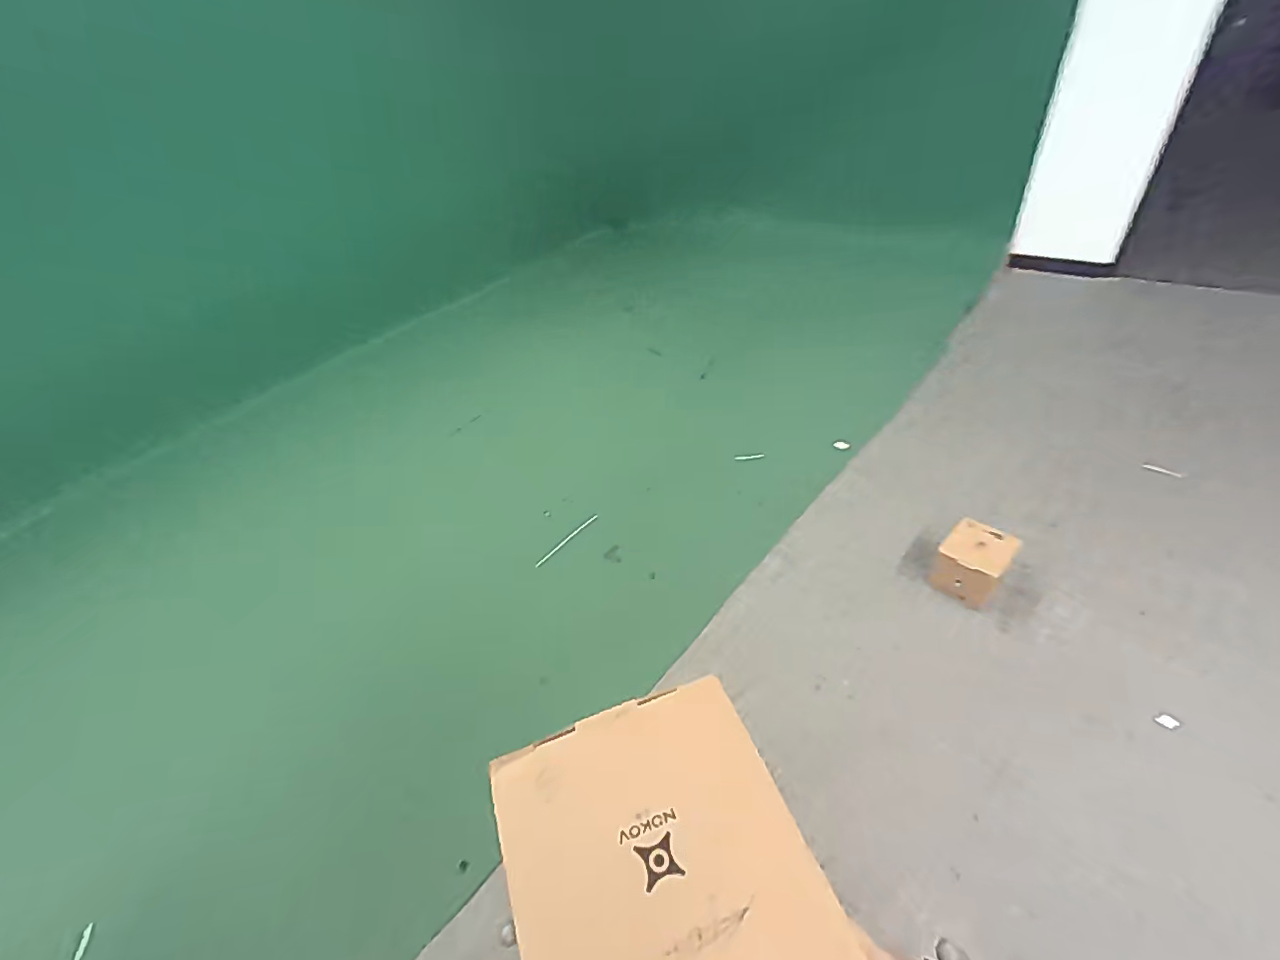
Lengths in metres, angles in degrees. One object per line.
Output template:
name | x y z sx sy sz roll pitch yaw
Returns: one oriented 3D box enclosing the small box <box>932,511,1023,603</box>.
small box | 0.999 0.232 1.615 0.179 0.176 0.168 -38 48 -24
